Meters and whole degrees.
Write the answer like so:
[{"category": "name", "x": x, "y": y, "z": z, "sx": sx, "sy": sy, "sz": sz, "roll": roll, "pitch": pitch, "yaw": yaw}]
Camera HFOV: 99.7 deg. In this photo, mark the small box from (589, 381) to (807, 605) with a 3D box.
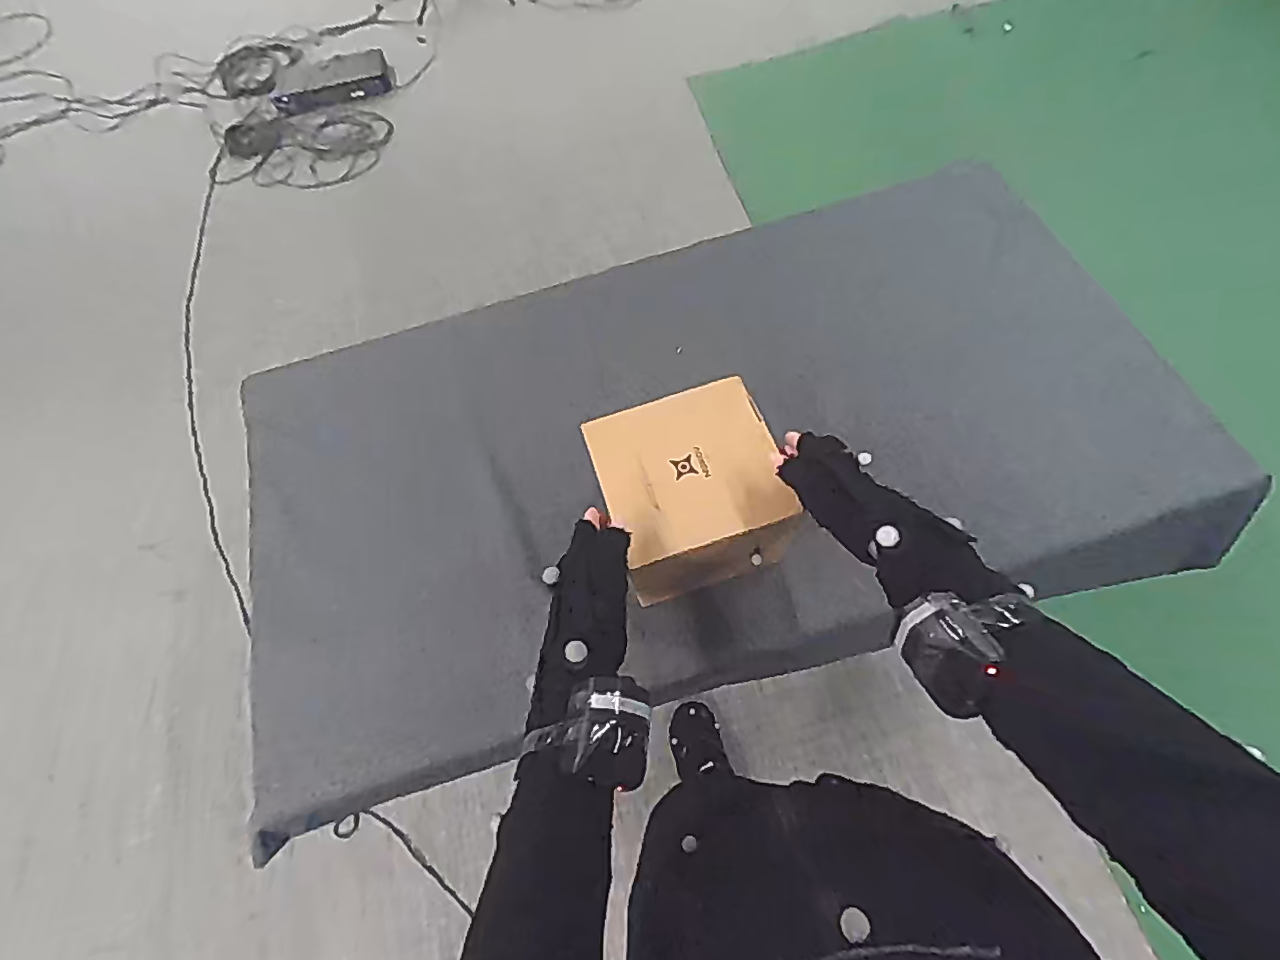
[{"category": "small box", "x": 0.058, "y": 0.023, "z": 0.604, "sx": 0.179, "sy": 0.176, "sz": 0.168, "roll": -19, "pitch": 65, "yaw": -3}]
